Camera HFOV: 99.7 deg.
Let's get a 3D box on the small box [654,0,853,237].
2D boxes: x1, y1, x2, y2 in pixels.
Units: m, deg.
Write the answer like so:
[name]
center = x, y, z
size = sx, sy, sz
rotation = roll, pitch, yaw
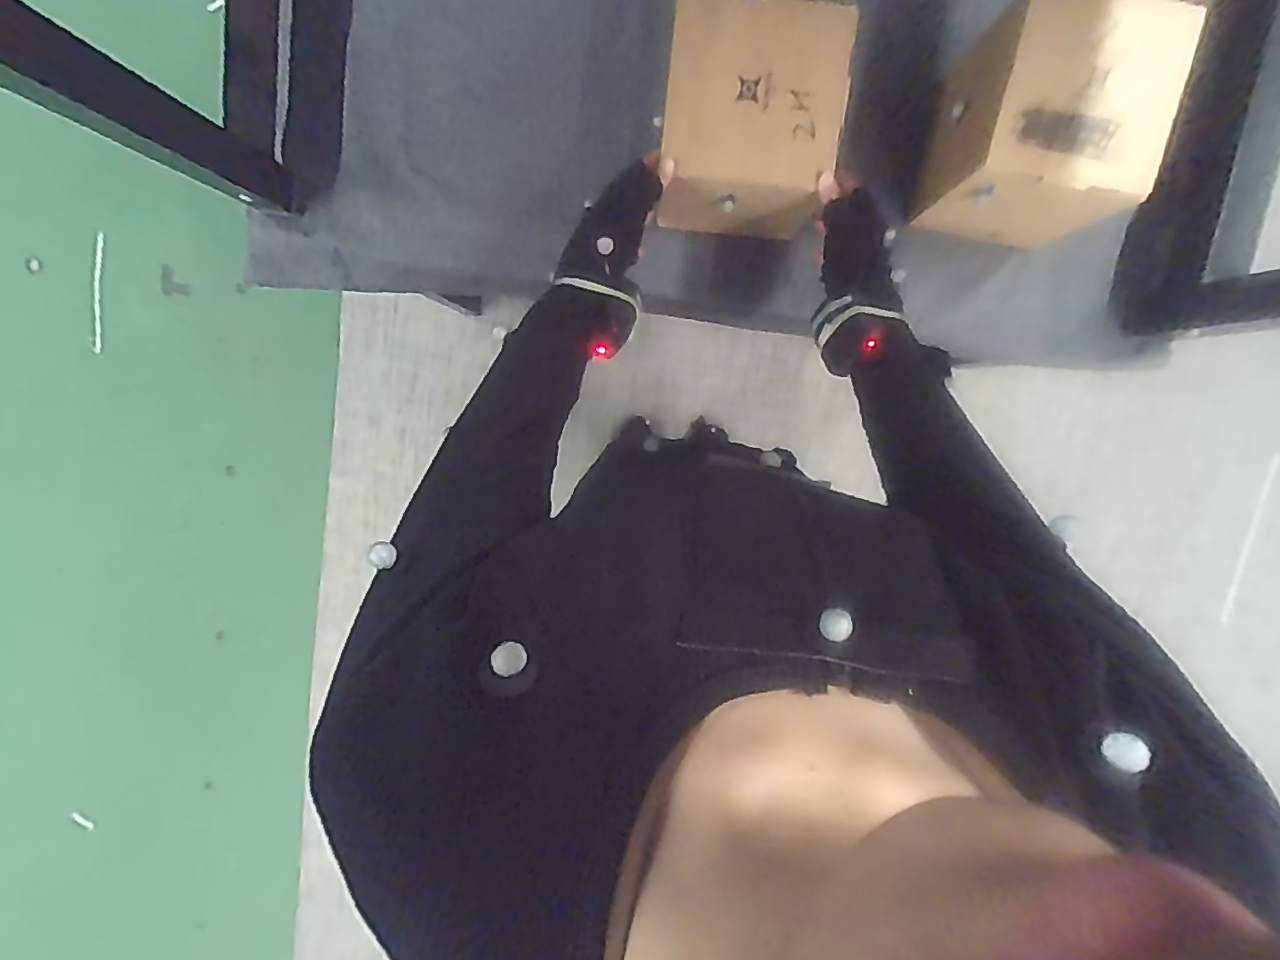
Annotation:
[small box]
center = 0.112, -0.388, 0.608
size = 0.179, 0.176, 0.168
rotation = 6, 99, 0
